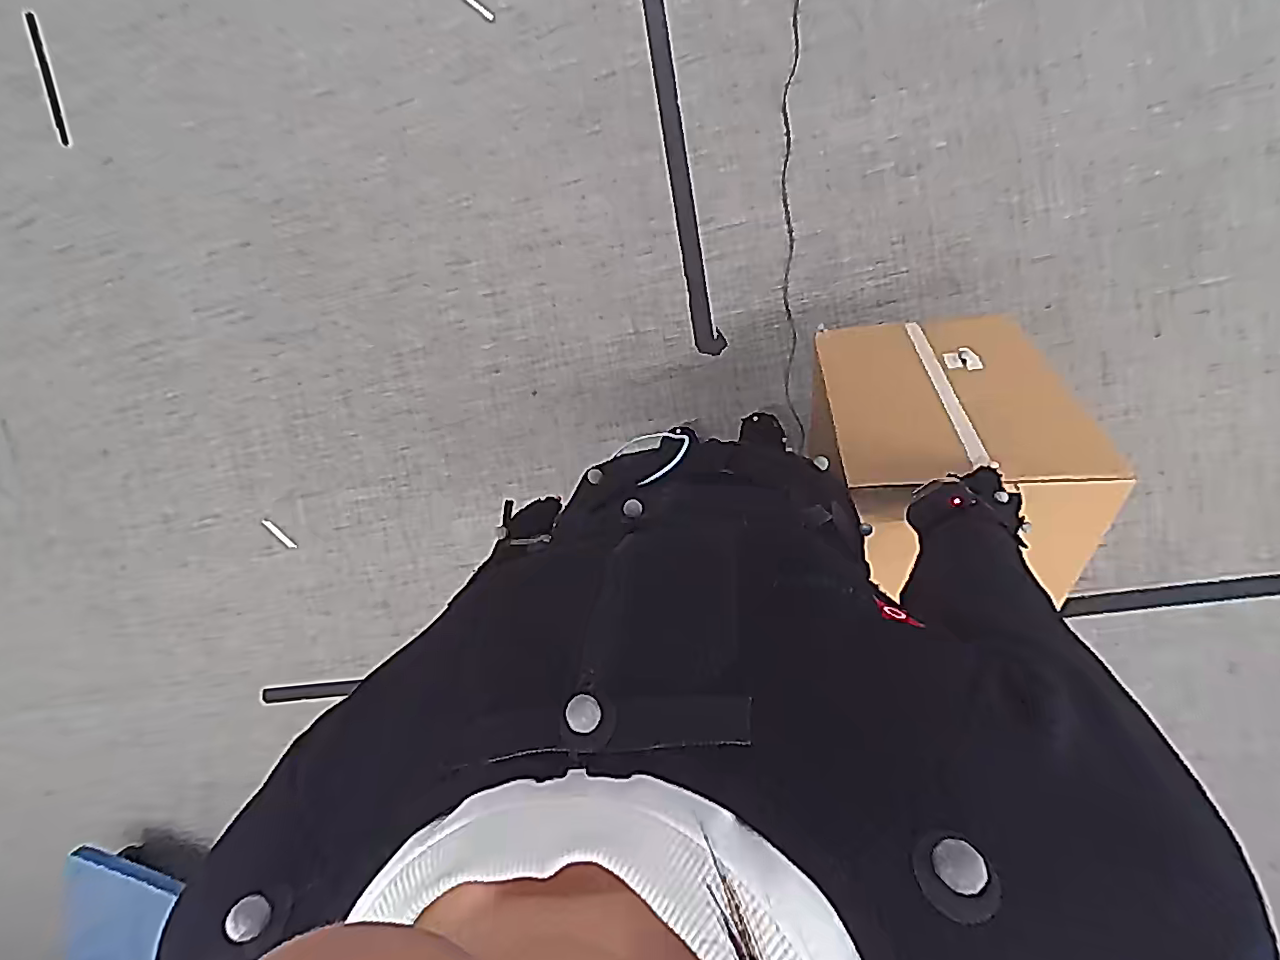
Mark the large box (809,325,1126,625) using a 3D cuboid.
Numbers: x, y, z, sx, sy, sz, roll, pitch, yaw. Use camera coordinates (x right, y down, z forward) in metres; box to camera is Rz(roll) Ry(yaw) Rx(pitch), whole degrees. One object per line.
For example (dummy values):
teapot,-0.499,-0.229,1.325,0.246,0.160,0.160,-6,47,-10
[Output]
large box,0.467,-0.014,0.897,0.320,0.408,0.320,-2,131,11
